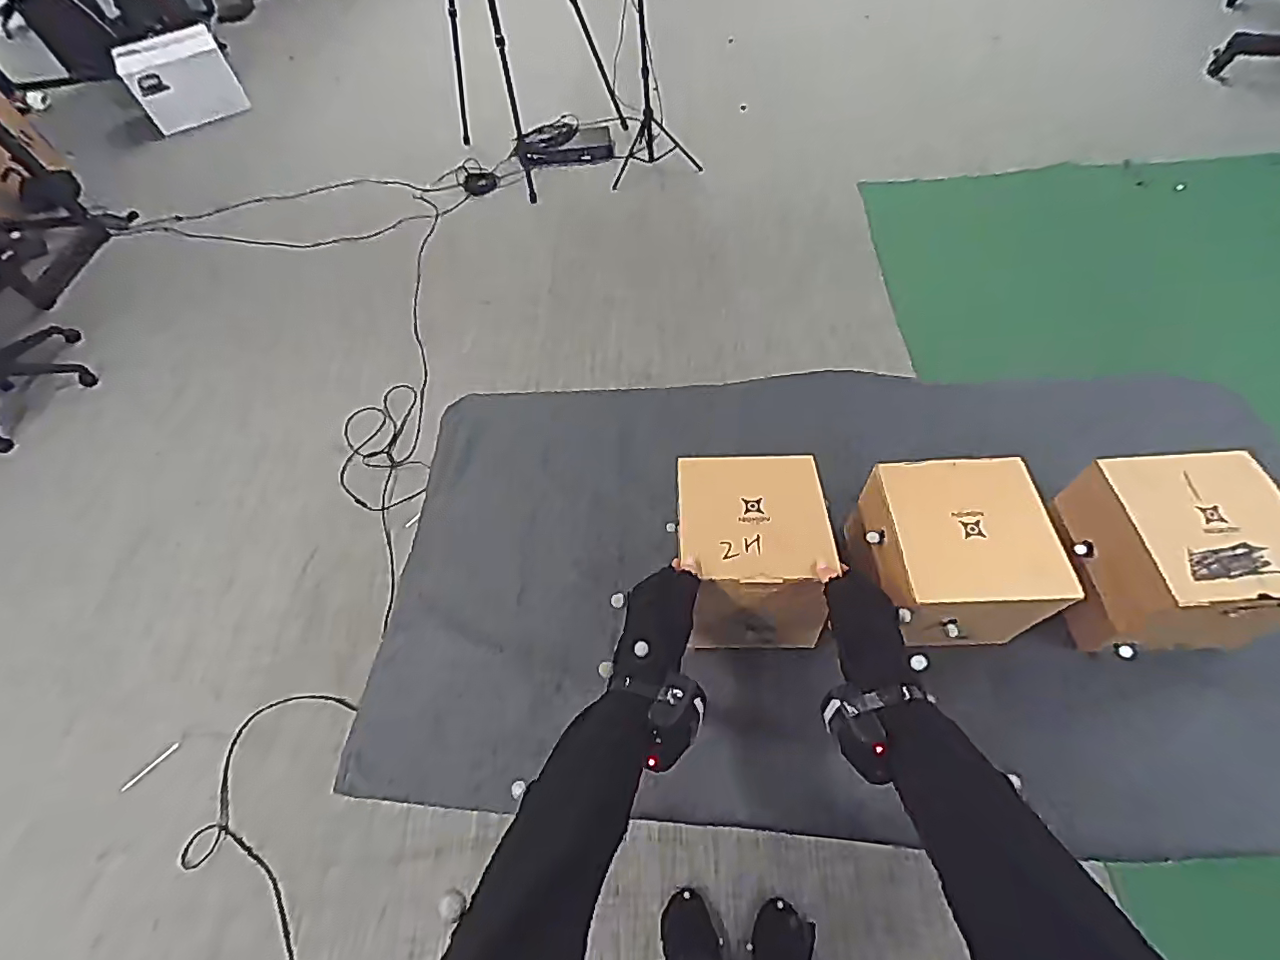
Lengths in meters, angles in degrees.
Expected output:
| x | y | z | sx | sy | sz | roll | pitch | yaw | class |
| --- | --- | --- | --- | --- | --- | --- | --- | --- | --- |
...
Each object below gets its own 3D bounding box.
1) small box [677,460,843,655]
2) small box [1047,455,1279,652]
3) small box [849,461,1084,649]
| x | y | z | sx | sy | sz | roll | pitch | yaw | class |
| --- | --- | --- | --- | --- | --- | --- | --- | --- | --- |
| 0.129 | 0.094 | 0.658 | 0.168 | 0.176 | 0.179 | -1 | 48 | 4 | small box |
| 0.606 | 0.093 | 0.624 | 0.168 | 0.176 | 0.179 | -3 | 56 | 4 | small box |
| 0.367 | 0.098 | 0.650 | 0.168 | 0.176 | 0.179 | -3 | 56 | 4 | small box |
